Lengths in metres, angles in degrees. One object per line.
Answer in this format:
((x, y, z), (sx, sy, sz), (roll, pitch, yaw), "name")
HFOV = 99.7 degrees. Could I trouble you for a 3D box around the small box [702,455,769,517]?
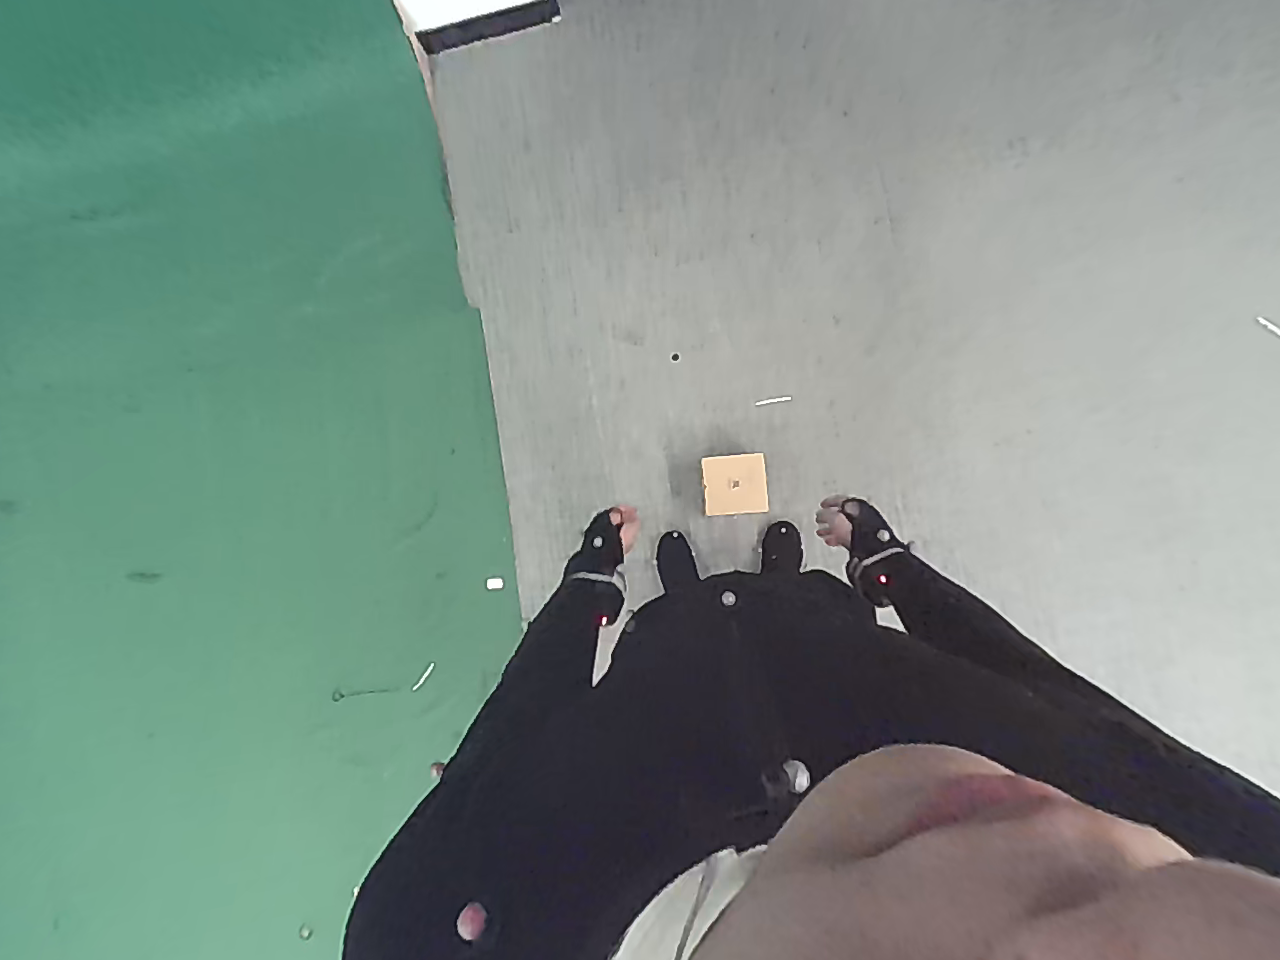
((0.273, 0.023, 1.574), (0.179, 0.176, 0.168), (-4, 86, 5), "small box")
